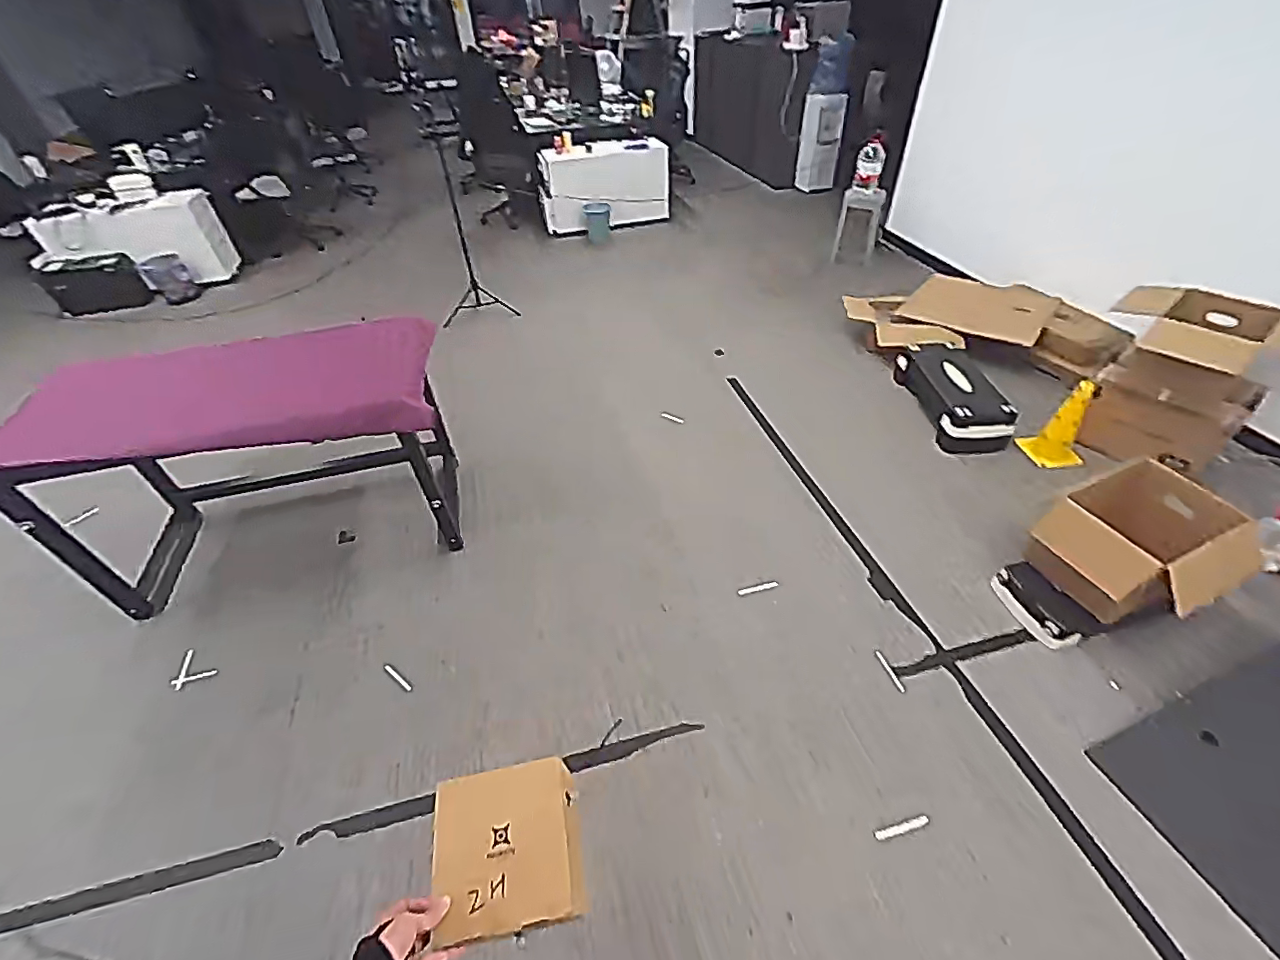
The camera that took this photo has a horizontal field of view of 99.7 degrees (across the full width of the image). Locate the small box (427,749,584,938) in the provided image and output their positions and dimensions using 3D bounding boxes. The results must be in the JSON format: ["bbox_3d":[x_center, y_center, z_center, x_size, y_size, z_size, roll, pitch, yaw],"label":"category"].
[{"bbox_3d":[-0.174,0.495,0.735,0.168,0.176,0.179,-10,51,-5],"label":"small box"}]
